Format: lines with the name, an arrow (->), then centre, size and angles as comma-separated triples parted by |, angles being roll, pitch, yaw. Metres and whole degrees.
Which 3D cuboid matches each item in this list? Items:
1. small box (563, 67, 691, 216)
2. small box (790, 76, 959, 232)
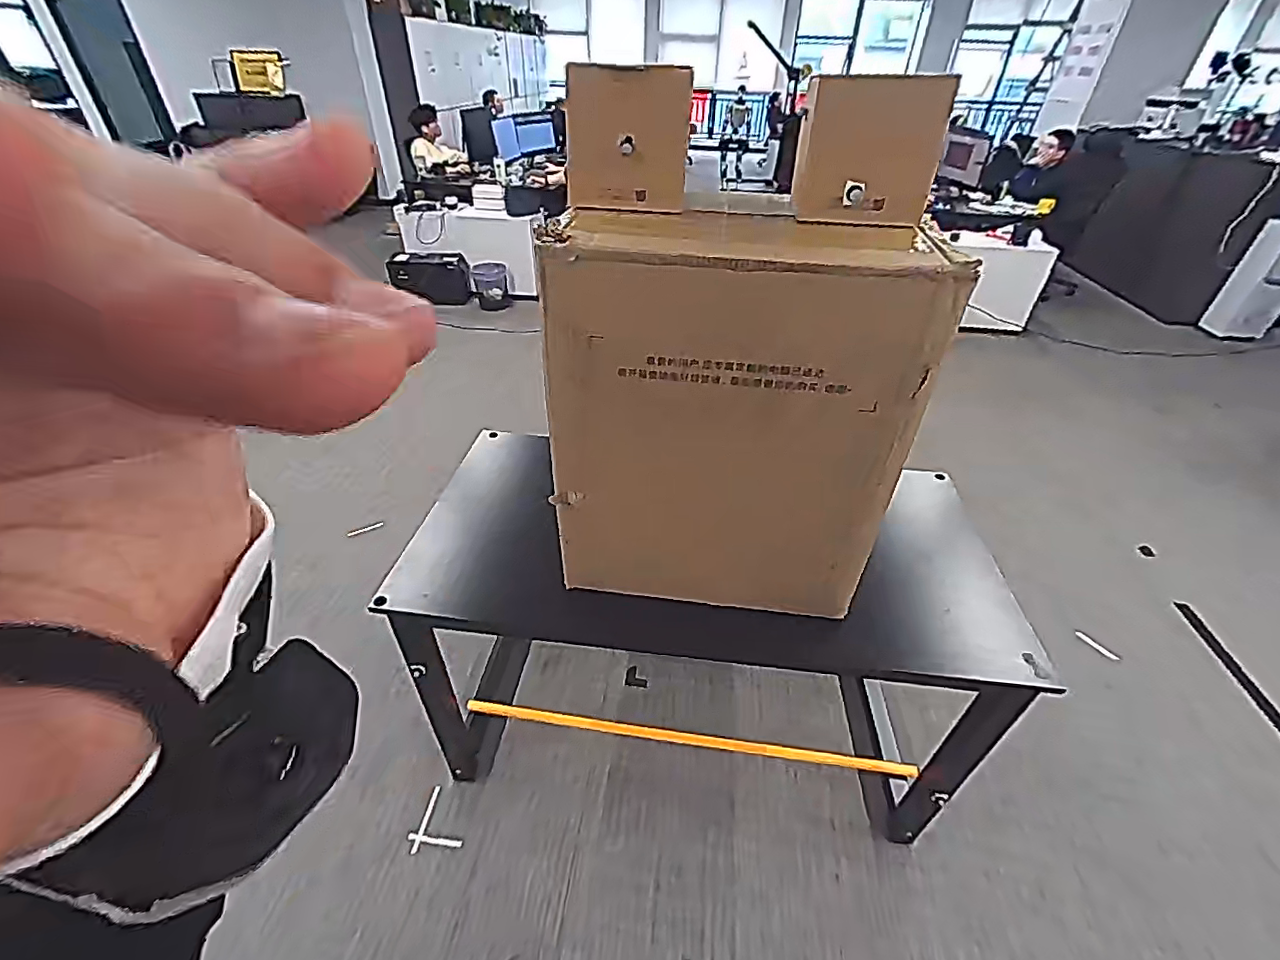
small box -> -0.014, -0.496, 0.792 | 0.168, 0.176, 0.179 | 4, 37, 1
small box -> 0.310, -0.459, 0.759 | 0.168, 0.176, 0.179 | 5, 37, 8
